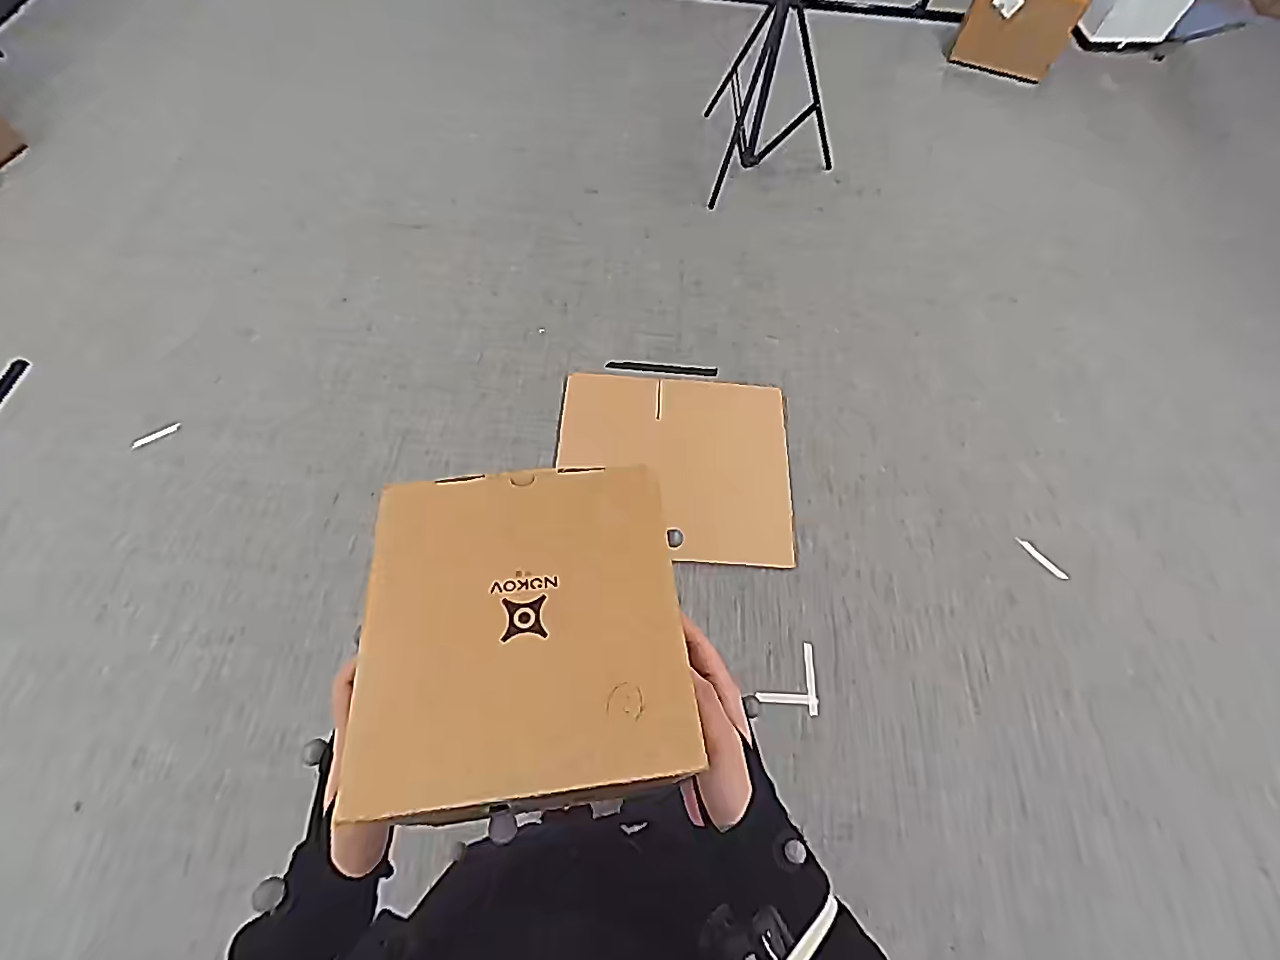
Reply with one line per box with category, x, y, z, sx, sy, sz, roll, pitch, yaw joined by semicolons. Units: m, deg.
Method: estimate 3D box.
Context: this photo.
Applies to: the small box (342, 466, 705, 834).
small box;-0.062;0.114;0.350;0.168;0.176;0.179;-5;57;-7
